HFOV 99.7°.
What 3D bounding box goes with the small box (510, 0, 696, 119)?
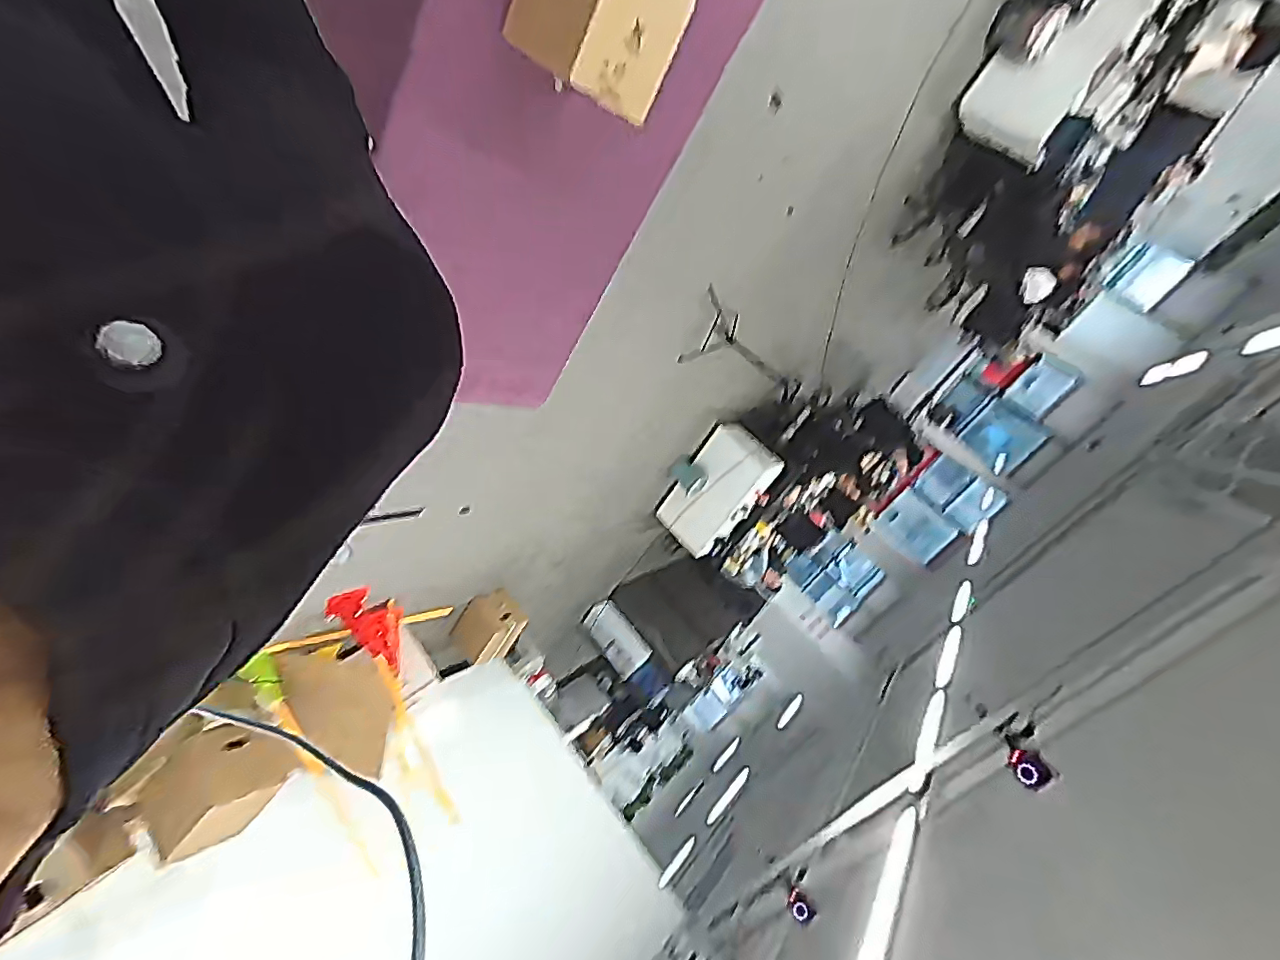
[{"bbox_3d":[-0.057,-0.669,0.769,0.168,0.176,0.179,-14,144,-52],"label":"small box"}]
